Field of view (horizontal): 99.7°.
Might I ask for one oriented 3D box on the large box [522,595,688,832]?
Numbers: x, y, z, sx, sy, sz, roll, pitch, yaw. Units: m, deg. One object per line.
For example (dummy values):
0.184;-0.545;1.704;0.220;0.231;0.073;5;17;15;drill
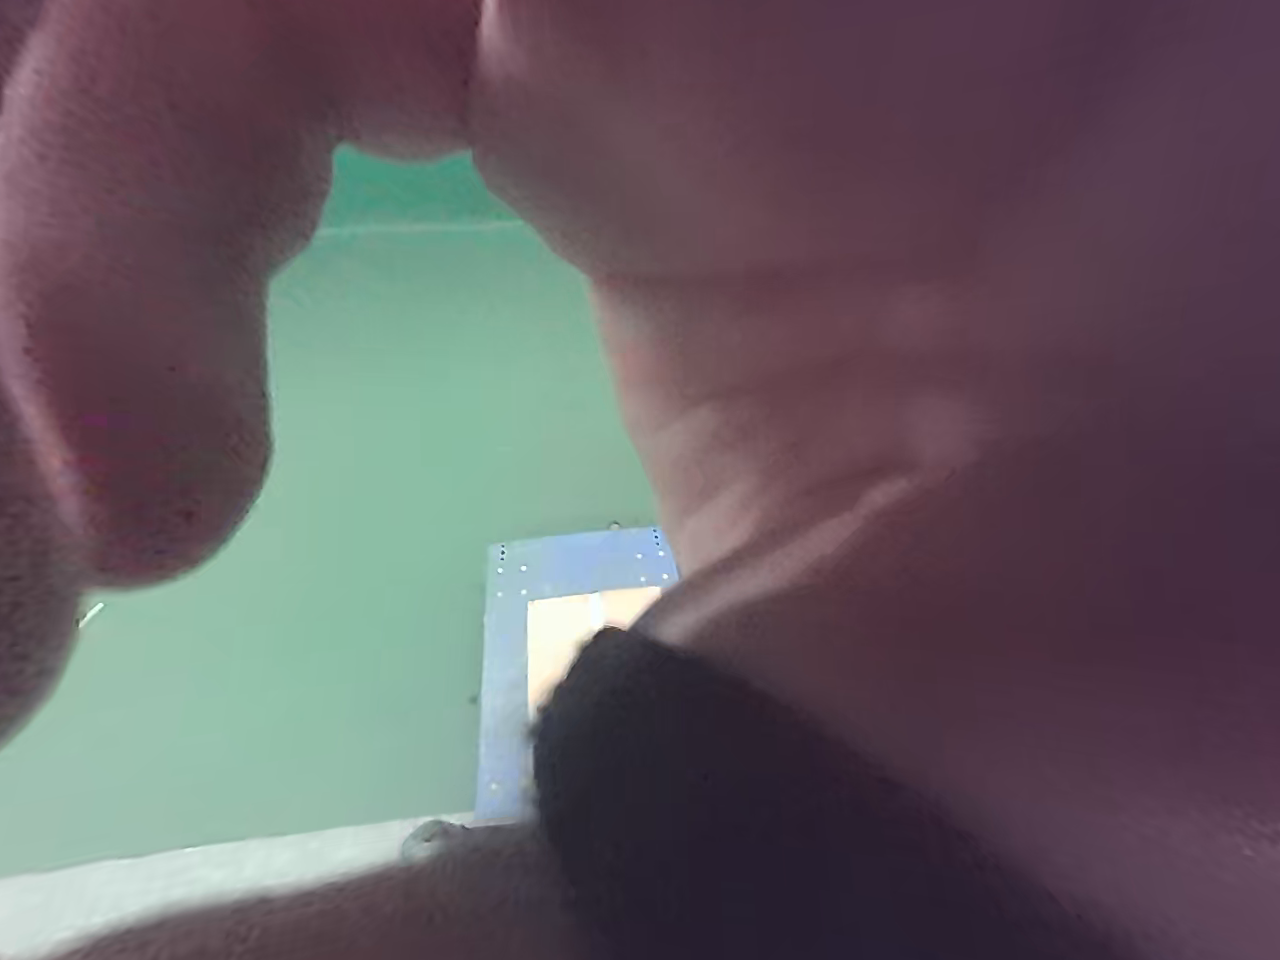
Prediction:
-0.092;0.533;1.247;0.320;0.320;0.408;-5;49;-8;large box
